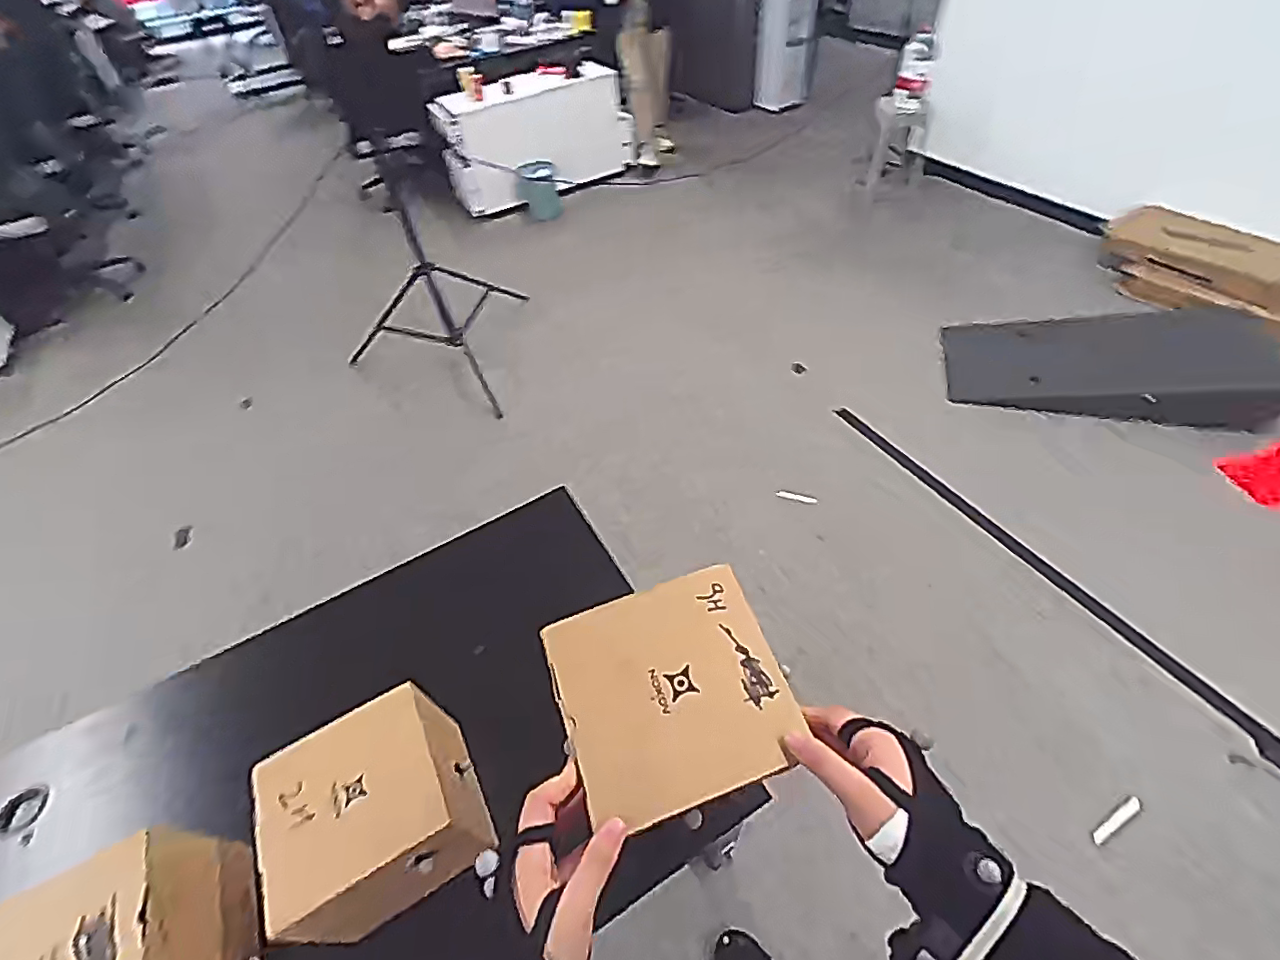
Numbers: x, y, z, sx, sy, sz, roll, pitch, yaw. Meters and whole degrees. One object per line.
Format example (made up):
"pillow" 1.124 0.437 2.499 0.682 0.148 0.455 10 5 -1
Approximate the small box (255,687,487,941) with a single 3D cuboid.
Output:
"small box" -0.291 0.377 0.616 0.179 0.176 0.168 -27 51 -16

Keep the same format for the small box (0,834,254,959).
"small box" -0.523 0.497 0.543 0.179 0.176 0.168 -27 52 -14

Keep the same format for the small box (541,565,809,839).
"small box" 0.028 0.209 0.499 0.179 0.176 0.168 -19 58 -7
